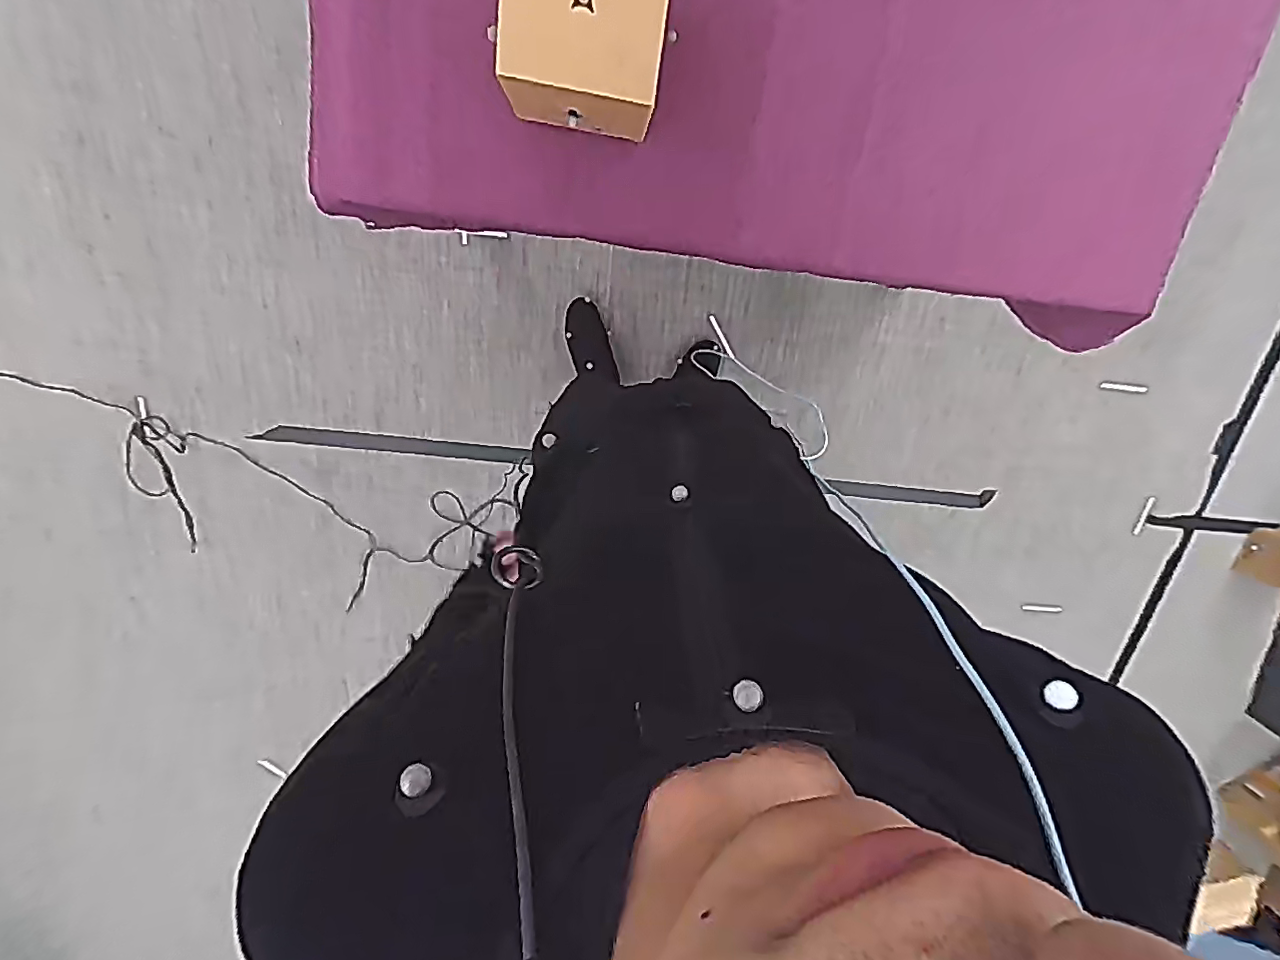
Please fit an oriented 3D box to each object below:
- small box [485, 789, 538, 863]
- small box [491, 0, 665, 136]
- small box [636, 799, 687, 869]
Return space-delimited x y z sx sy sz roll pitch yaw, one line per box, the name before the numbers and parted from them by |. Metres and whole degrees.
small box | -0.484 1.310 2.053 0.168 0.176 0.179 8 111 -7
small box | -0.061 -0.506 0.597 0.168 0.176 0.179 7 110 -7
small box | 0.079 1.389 2.129 0.168 0.176 0.179 6 111 -7
